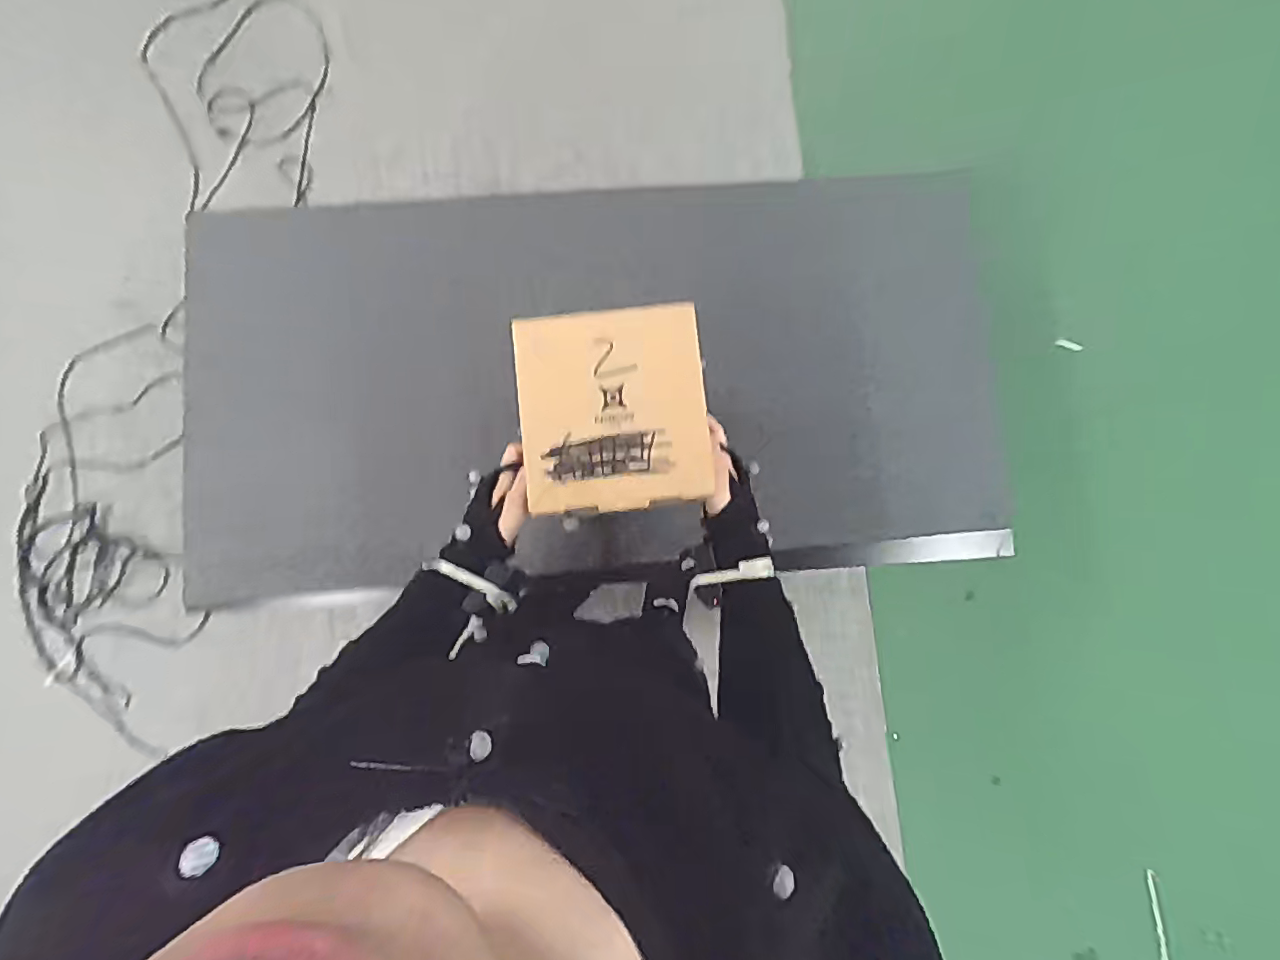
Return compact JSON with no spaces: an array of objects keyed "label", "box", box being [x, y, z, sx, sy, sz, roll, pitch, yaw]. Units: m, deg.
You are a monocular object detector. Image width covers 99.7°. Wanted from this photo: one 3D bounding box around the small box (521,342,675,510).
[{"label":"small box","box":[-0.052,-0.060,0.705,0.168,0.176,0.179,-8,84,-1]}]
